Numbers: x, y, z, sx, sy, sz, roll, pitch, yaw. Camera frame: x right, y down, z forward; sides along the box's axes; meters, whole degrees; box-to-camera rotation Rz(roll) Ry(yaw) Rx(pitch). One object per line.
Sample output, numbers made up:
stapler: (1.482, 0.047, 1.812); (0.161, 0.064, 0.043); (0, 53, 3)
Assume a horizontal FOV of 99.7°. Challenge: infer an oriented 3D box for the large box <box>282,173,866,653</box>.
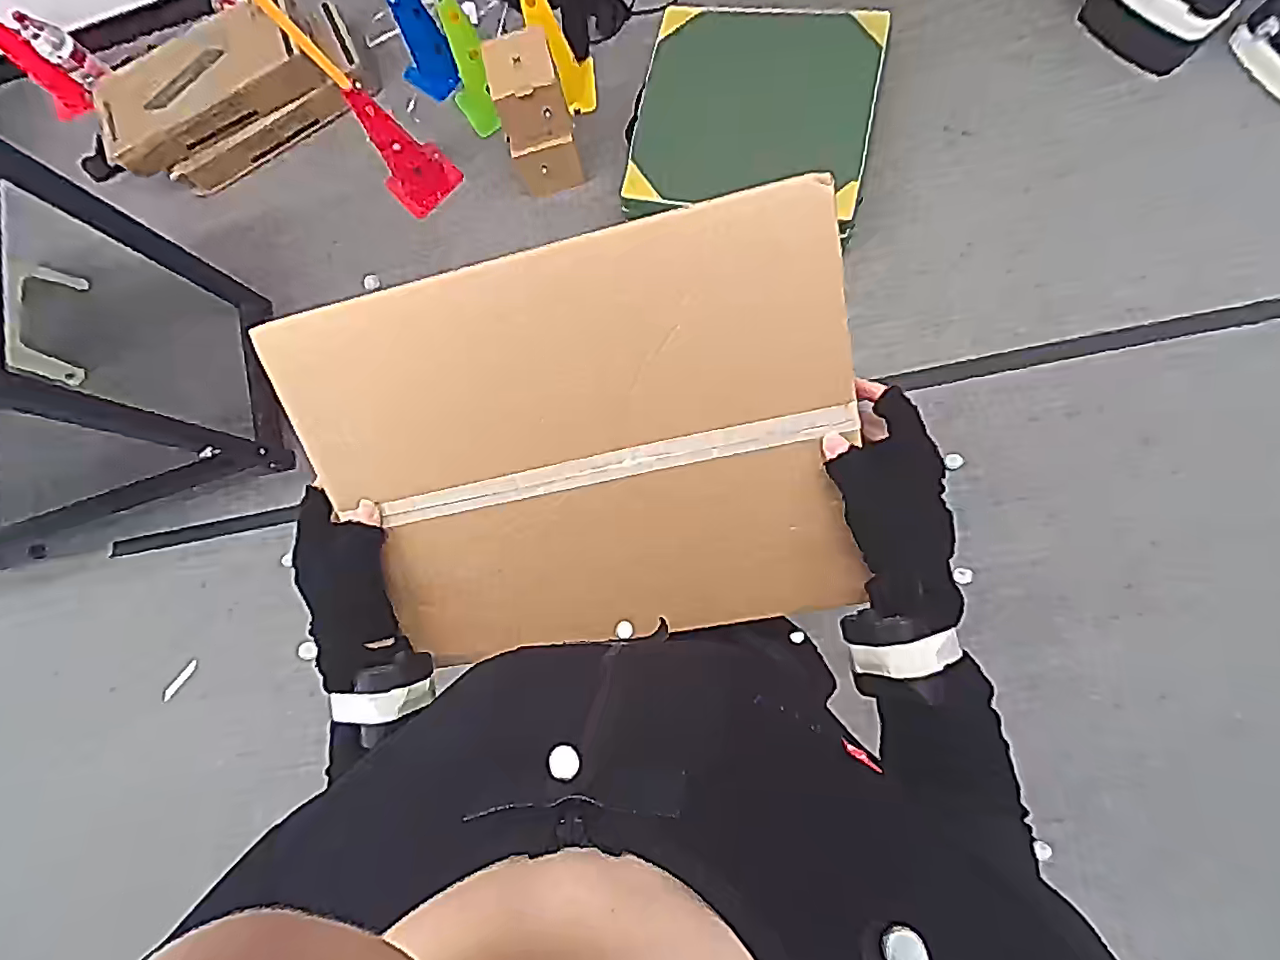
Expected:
large box: (-0.033, -0.070, 0.559); (0.408, 0.320, 0.320); (-11, 112, 9)
